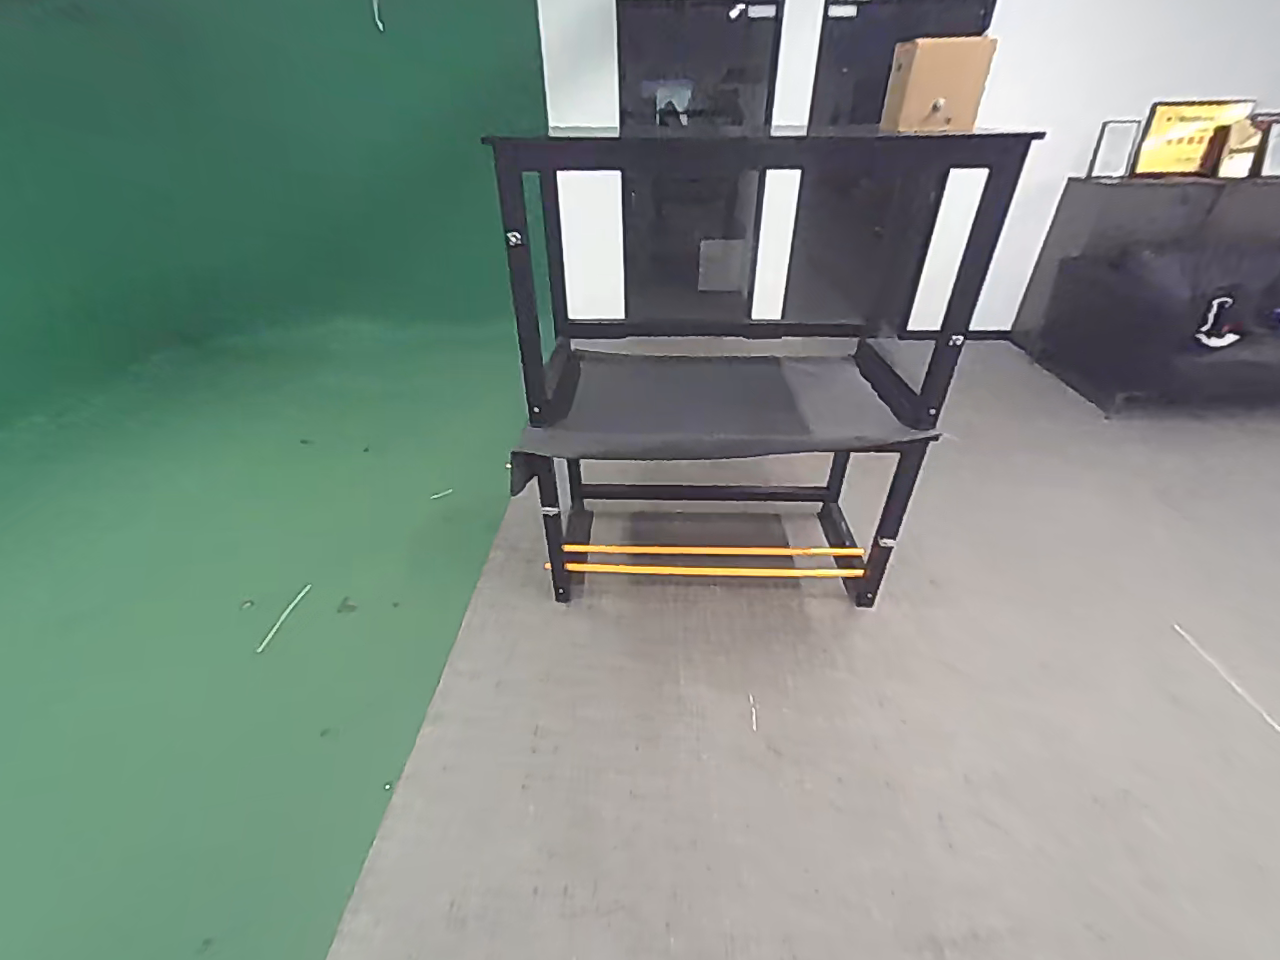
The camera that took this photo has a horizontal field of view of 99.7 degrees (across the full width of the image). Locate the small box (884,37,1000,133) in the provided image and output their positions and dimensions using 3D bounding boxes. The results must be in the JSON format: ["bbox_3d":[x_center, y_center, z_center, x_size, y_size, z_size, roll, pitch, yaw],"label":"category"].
[{"bbox_3d":[0.679,-0.903,1.242,0.168,0.176,0.179,3,36,6],"label":"small box"}]
